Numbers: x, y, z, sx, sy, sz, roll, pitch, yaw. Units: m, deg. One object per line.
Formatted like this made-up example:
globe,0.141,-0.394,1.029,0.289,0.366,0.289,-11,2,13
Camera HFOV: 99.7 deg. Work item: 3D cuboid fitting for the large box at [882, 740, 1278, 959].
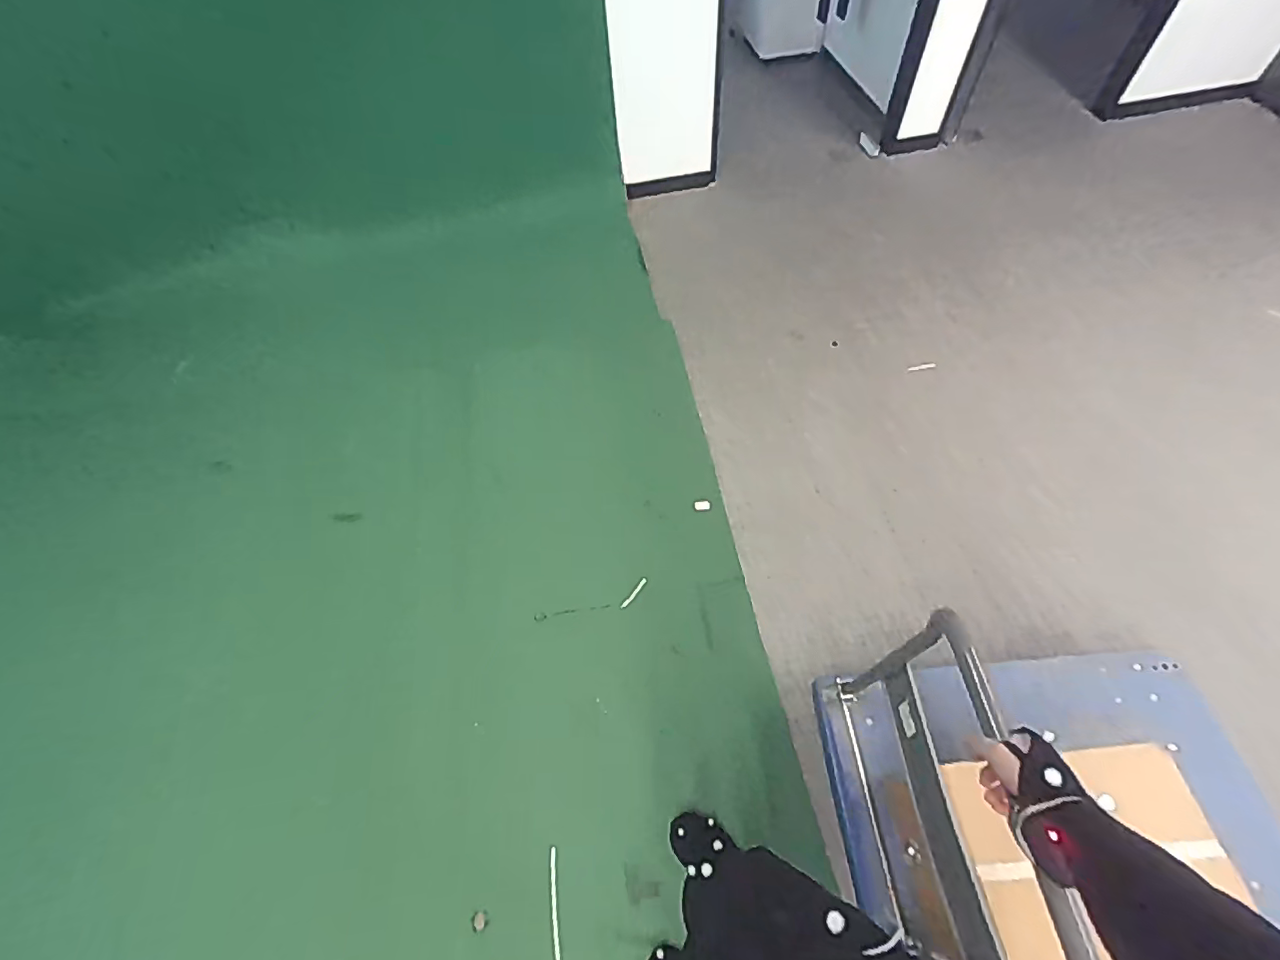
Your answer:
large box,0.736,0.691,0.996,0.408,0.320,0.320,-6,58,-1
